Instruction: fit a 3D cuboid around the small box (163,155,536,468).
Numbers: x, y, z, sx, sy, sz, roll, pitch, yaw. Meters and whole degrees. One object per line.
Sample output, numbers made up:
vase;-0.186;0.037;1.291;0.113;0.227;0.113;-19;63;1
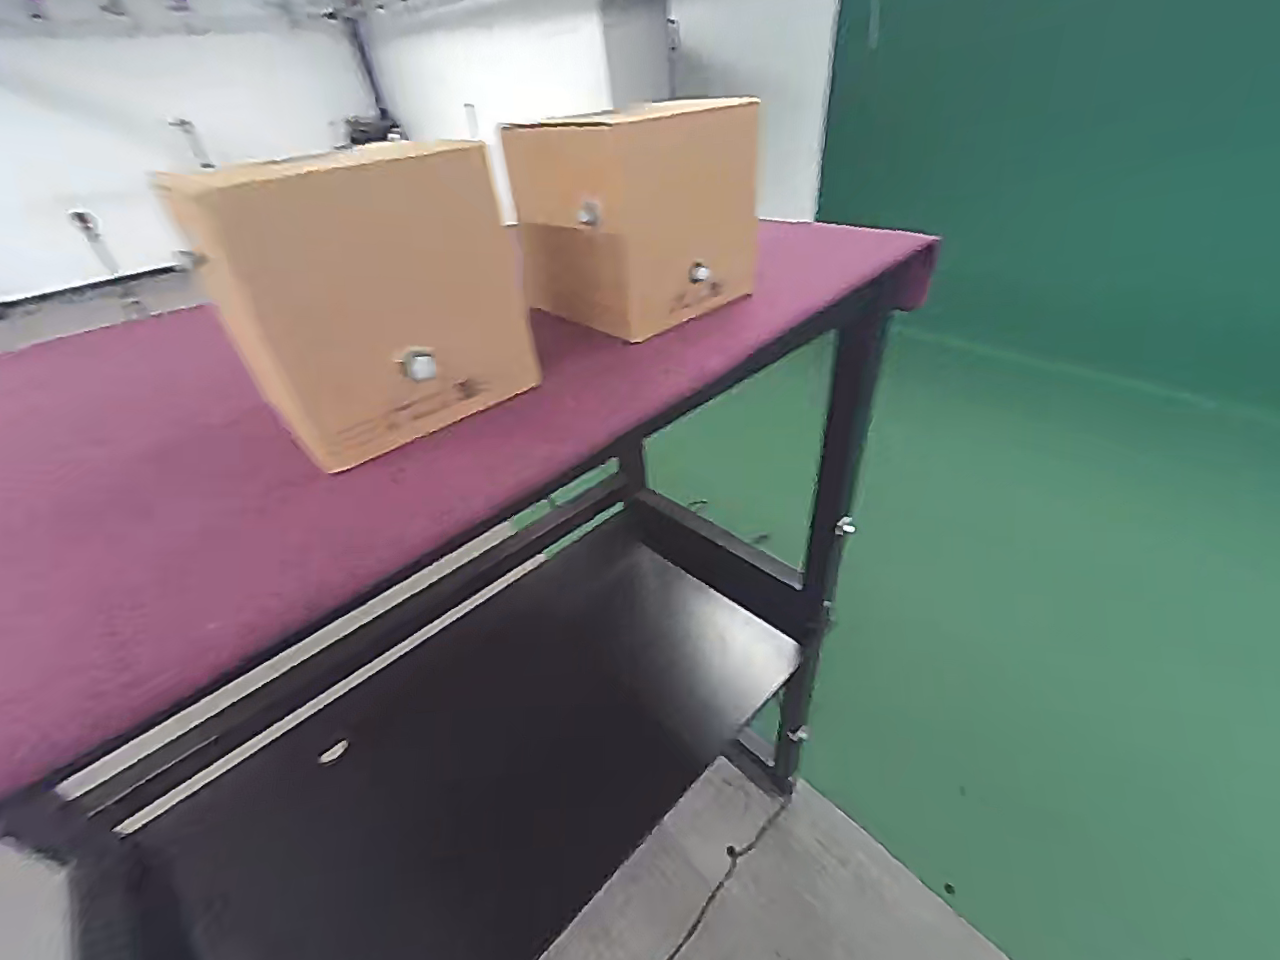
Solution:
small box;-0.201;-0.133;0.402;0.168;0.176;0.179;-32;44;-31
